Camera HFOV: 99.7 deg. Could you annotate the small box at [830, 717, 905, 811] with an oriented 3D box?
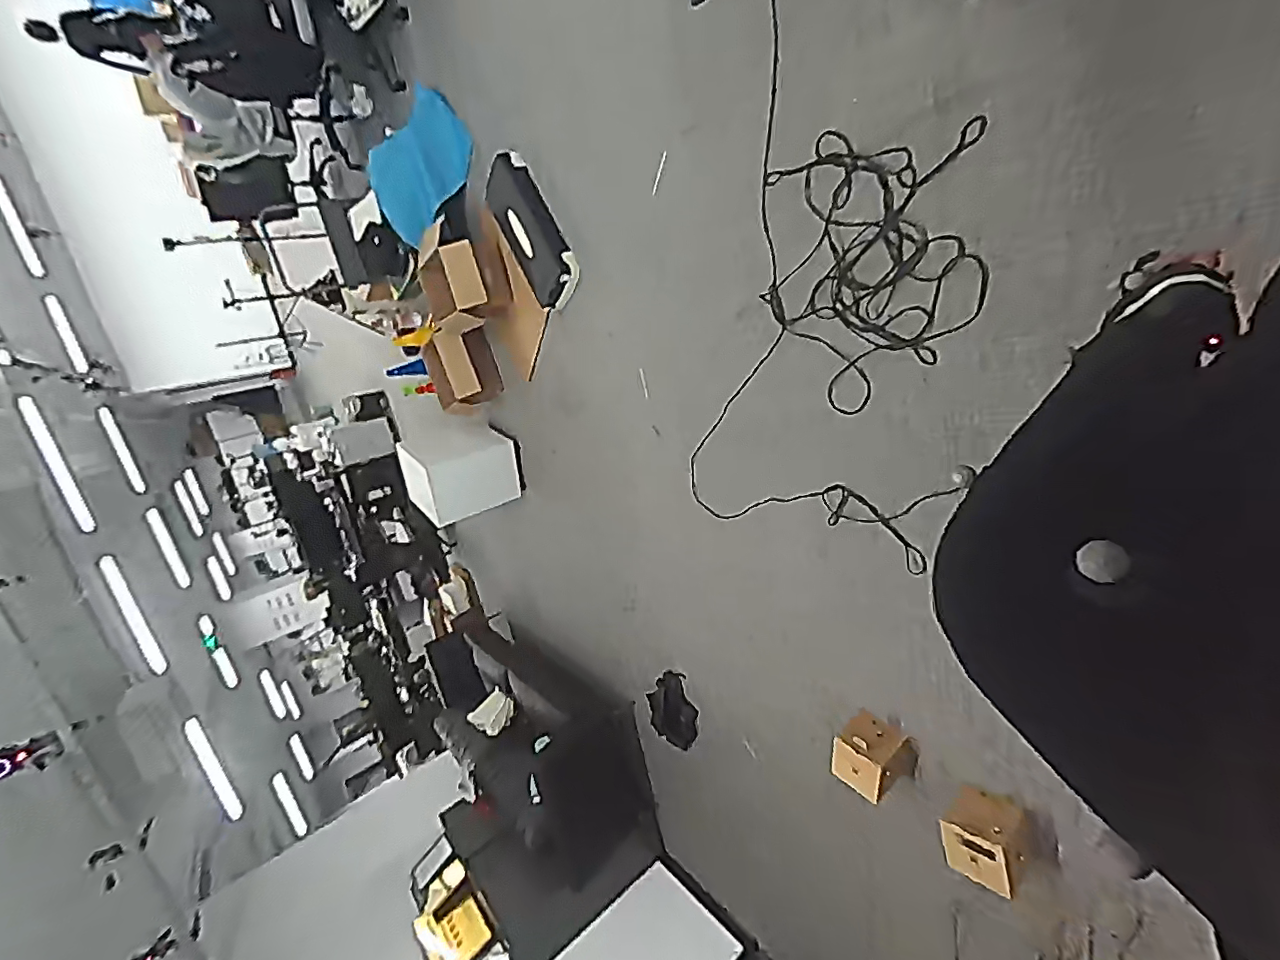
[{"bbox_3d":[0.753,0.932,1.787,0.168,0.176,0.179,23,126,47],"label":"small box"}]
